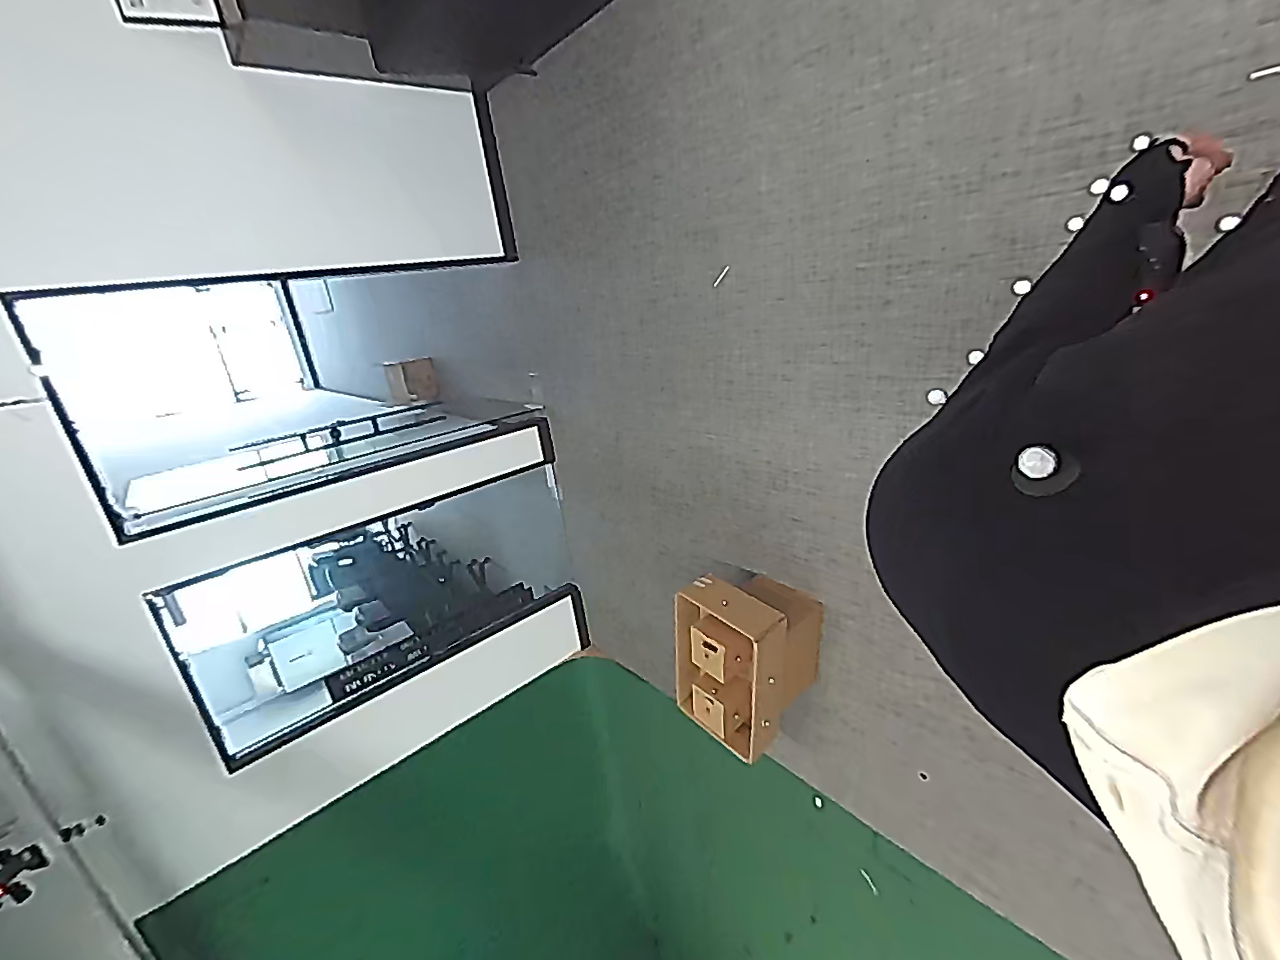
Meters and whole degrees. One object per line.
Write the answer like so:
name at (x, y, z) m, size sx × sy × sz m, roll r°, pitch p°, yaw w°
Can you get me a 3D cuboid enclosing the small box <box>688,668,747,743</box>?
small box at (0.310, 0.888, 2.144) m, size 0.168 × 0.176 × 0.179 m, roll 20°, pitch 123°, yaw 46°
